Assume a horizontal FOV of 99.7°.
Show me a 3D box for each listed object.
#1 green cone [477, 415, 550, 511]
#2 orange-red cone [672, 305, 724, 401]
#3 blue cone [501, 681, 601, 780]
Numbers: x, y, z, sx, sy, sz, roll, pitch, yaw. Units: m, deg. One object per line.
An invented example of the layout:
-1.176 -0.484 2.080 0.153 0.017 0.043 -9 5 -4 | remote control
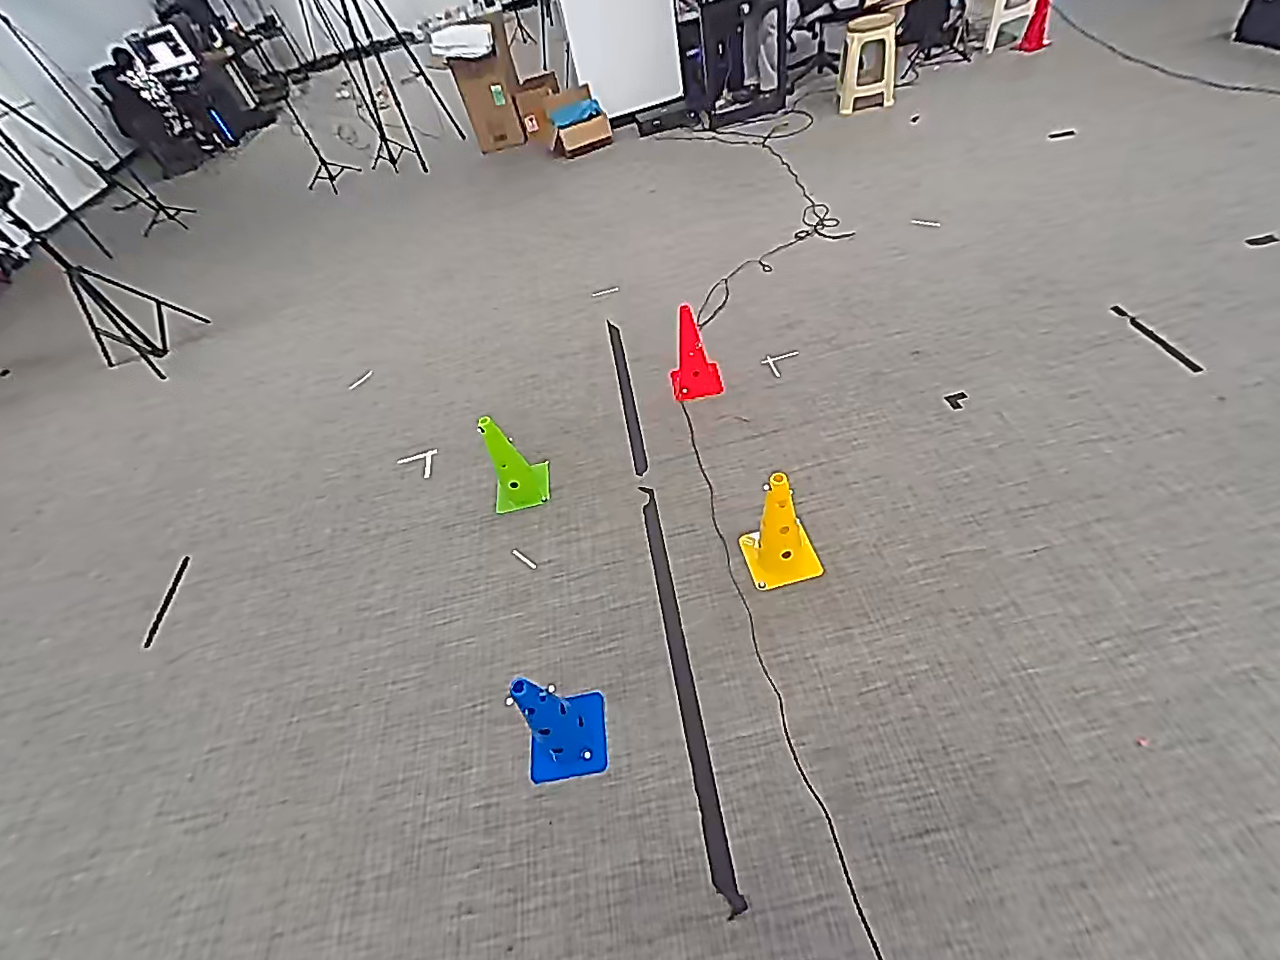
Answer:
-0.470 -0.089 1.890 0.202 0.368 0.200 -15 48 4 | green cone
0.202 -0.510 2.077 0.199 0.360 0.198 -10 50 5 | orange-red cone
-0.230 0.560 1.284 0.192 0.380 0.193 -12 48 6 | blue cone
